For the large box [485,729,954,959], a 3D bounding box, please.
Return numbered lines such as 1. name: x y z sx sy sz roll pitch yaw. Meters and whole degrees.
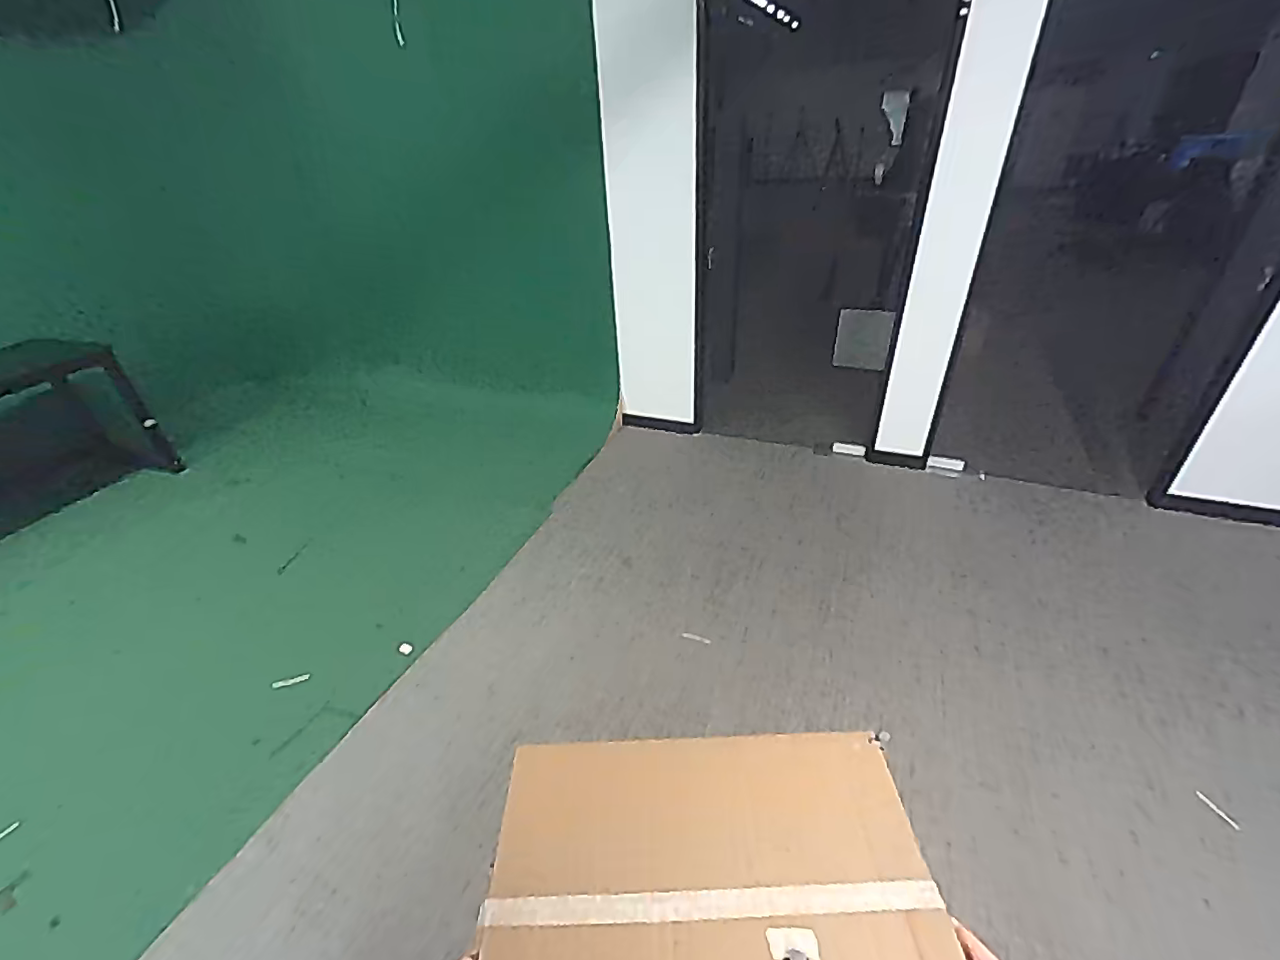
1. large box: 0.068 0.503 0.576 0.408 0.320 0.320 -2 34 1
